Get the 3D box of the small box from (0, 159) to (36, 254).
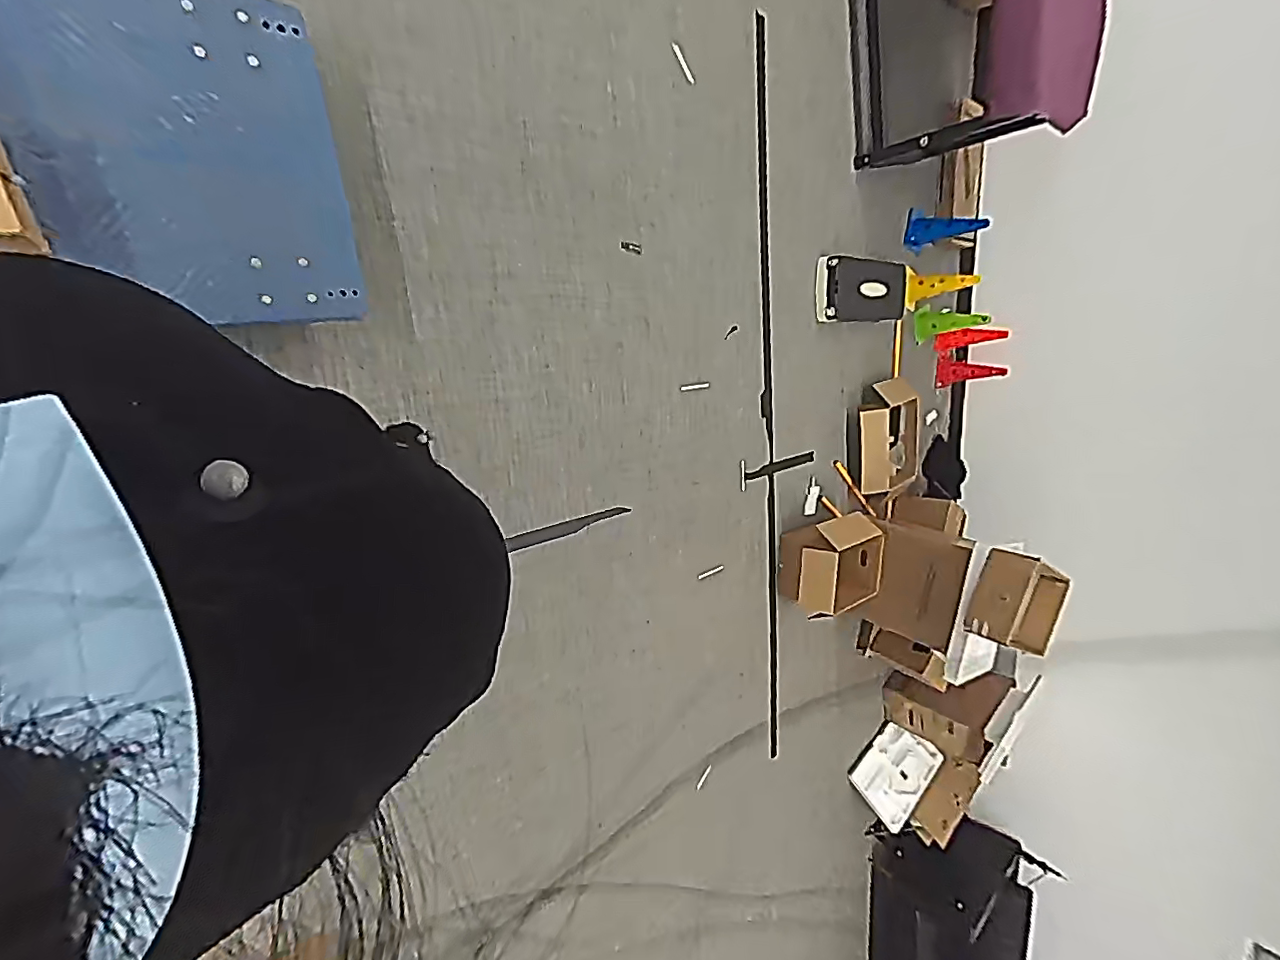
[{"bbox_3d":[-0.991,-0.415,0.740,0.168,0.176,0.179,-21,112,-35],"label":"small box"}]
